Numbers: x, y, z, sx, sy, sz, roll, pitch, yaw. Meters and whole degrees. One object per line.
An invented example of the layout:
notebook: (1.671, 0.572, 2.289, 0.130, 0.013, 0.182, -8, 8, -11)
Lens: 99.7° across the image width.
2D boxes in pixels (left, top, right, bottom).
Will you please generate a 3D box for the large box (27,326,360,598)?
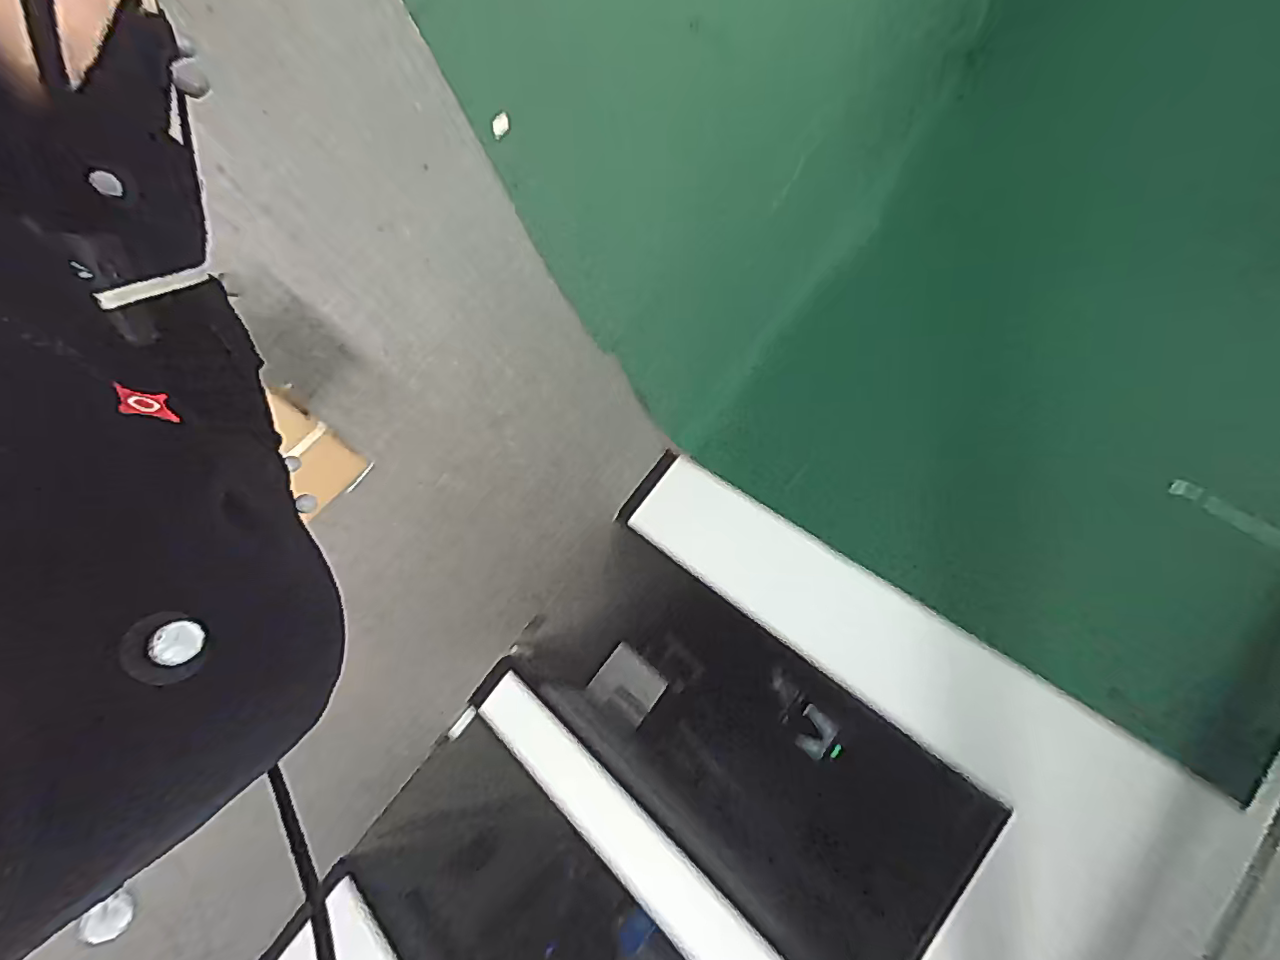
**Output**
large box: (-0.902, -0.036, 1.130, 0.408, 0.320, 0.320, -48, 151, -12)
